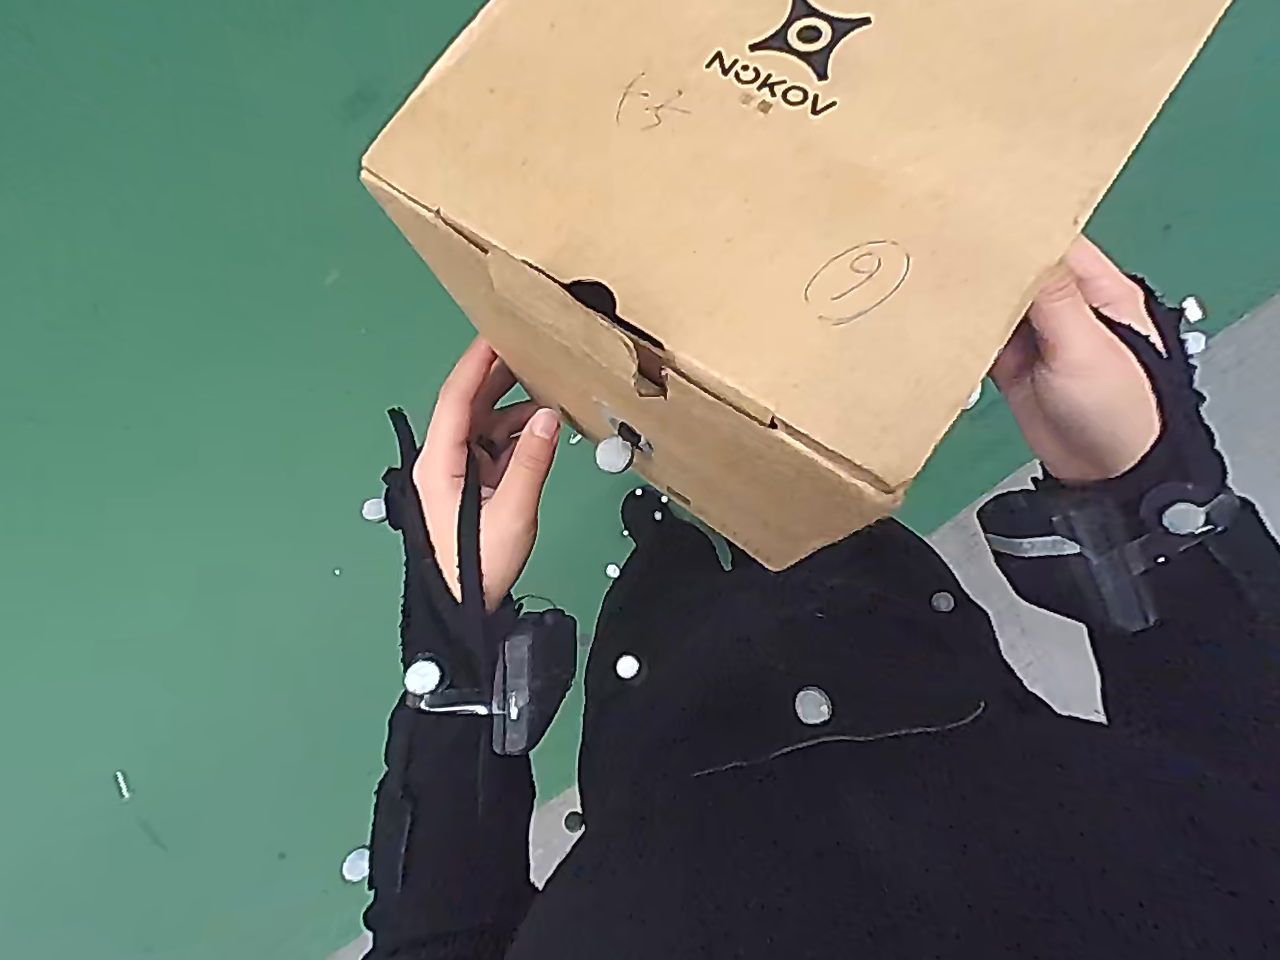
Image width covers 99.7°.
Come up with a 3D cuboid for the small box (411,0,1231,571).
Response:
[{"bbox_3d":[0.054,-0.078,0.230,0.168,0.176,0.179,36,82,14],"label":"small box"}]
